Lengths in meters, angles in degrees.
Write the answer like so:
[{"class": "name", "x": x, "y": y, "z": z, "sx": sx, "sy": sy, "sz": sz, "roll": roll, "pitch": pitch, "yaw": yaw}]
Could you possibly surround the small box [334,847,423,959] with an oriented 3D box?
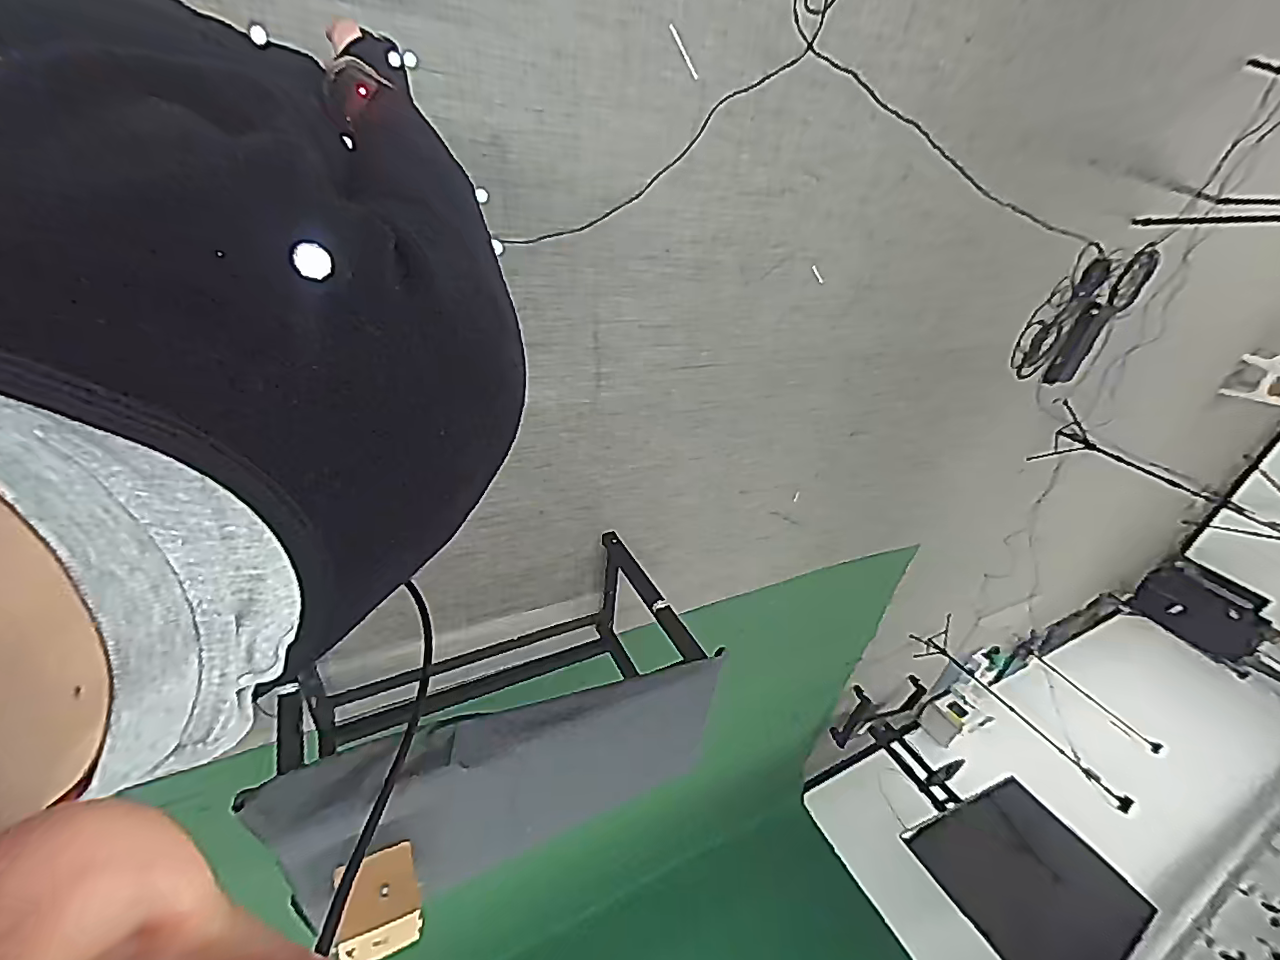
[{"class": "small box", "x": -0.649, "y": 1.061, "z": 1.342, "sx": 0.179, "sy": 0.176, "sz": 0.168, "roll": -6, "pitch": 123, "yaw": -31}]
